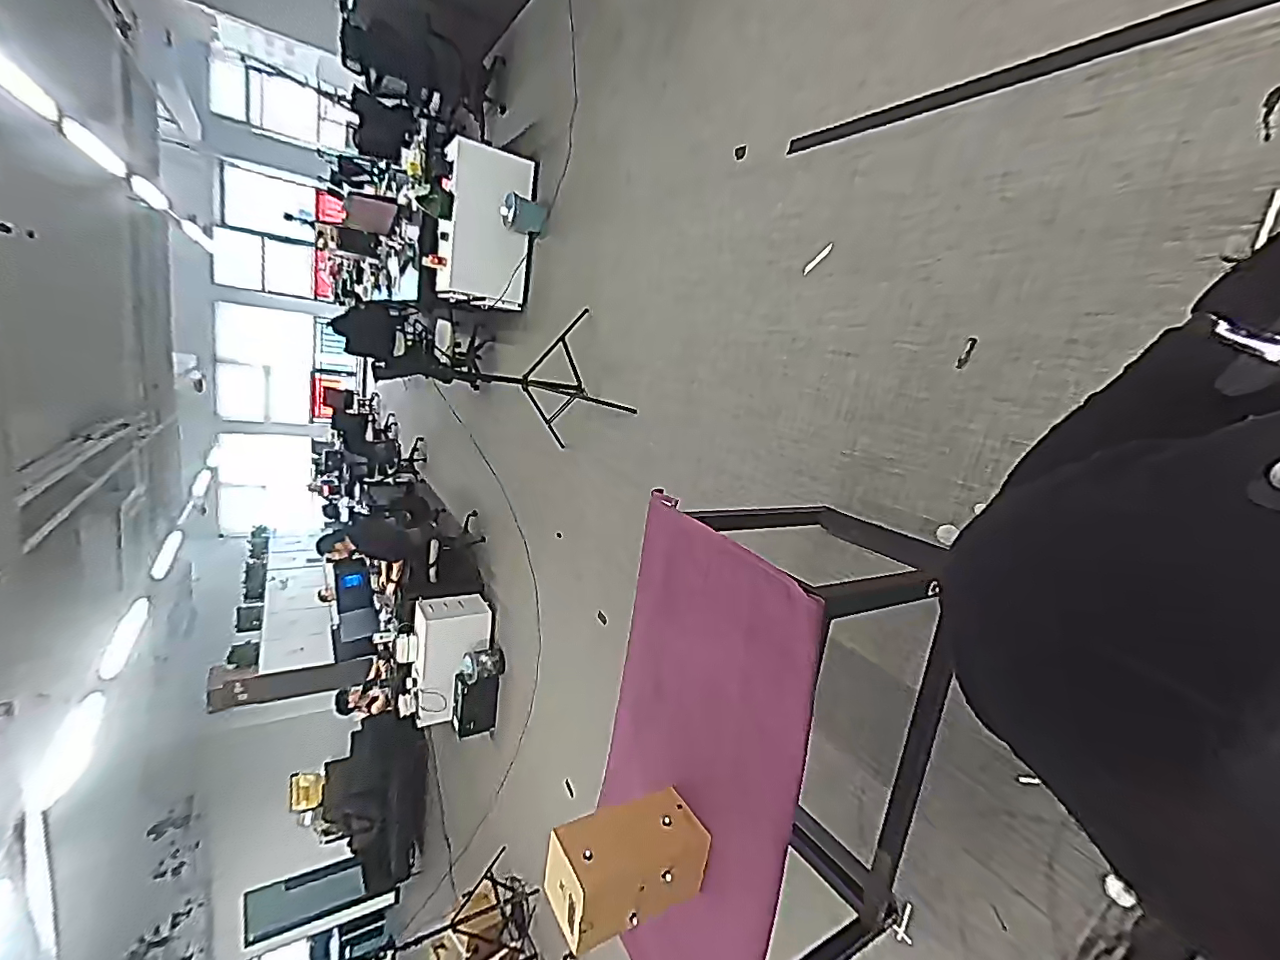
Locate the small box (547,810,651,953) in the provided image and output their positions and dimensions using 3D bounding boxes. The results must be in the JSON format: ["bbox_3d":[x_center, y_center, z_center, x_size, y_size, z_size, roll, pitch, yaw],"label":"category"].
[{"bbox_3d":[-0.093,0.888,1.219,0.179,0.176,0.168,25,110,55],"label":"small box"}]

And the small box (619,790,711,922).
[{"bbox_3d":[0.049,0.892,1.302,0.168,0.176,0.179,28,113,55],"label":"small box"}]
